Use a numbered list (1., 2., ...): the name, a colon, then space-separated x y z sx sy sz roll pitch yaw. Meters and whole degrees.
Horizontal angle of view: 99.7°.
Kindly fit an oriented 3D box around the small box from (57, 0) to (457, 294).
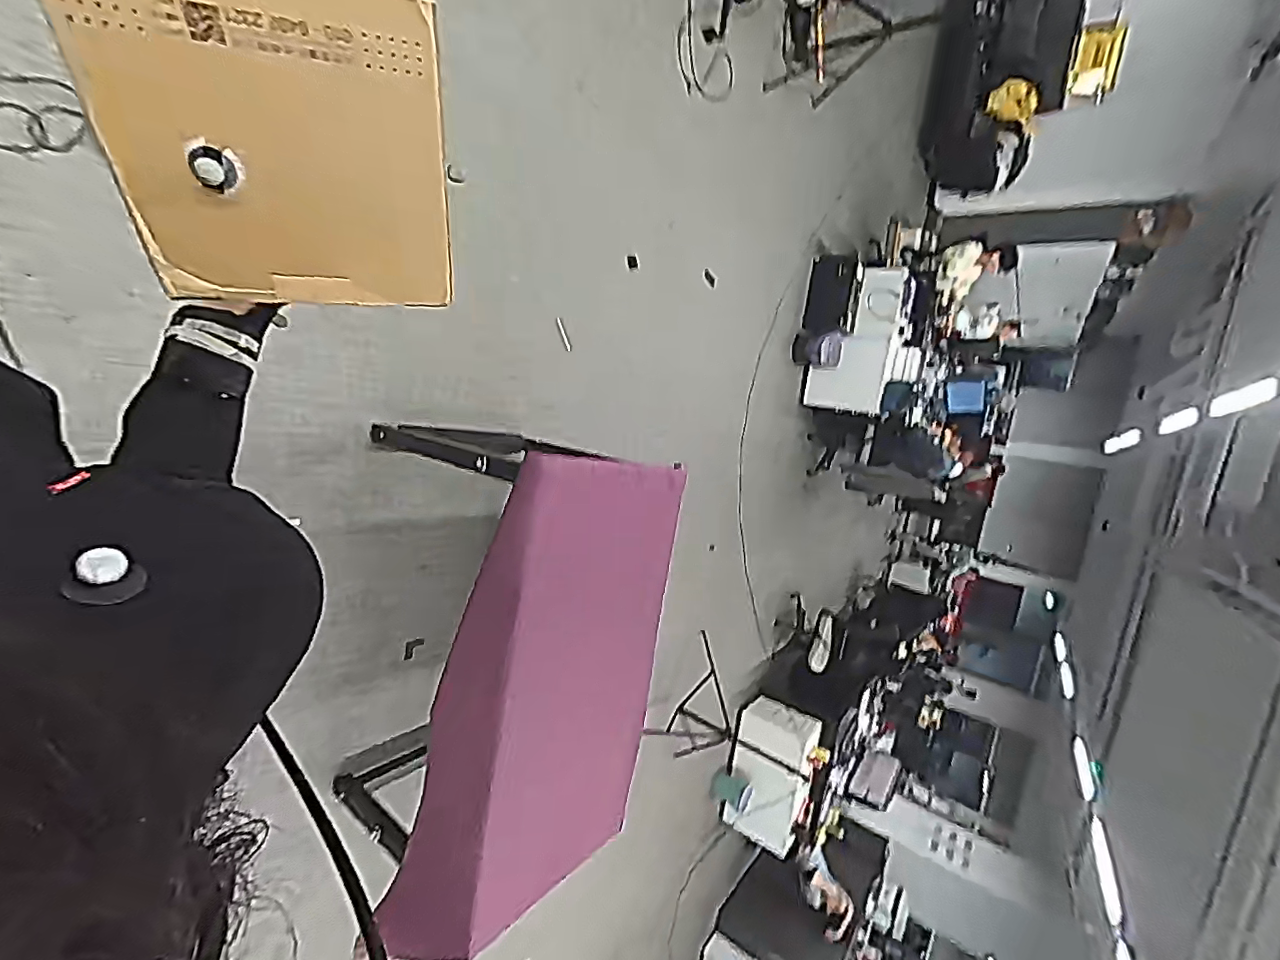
1. small box: -0.215 -0.237 0.347 0.168 0.179 0.176 -5 134 -21
